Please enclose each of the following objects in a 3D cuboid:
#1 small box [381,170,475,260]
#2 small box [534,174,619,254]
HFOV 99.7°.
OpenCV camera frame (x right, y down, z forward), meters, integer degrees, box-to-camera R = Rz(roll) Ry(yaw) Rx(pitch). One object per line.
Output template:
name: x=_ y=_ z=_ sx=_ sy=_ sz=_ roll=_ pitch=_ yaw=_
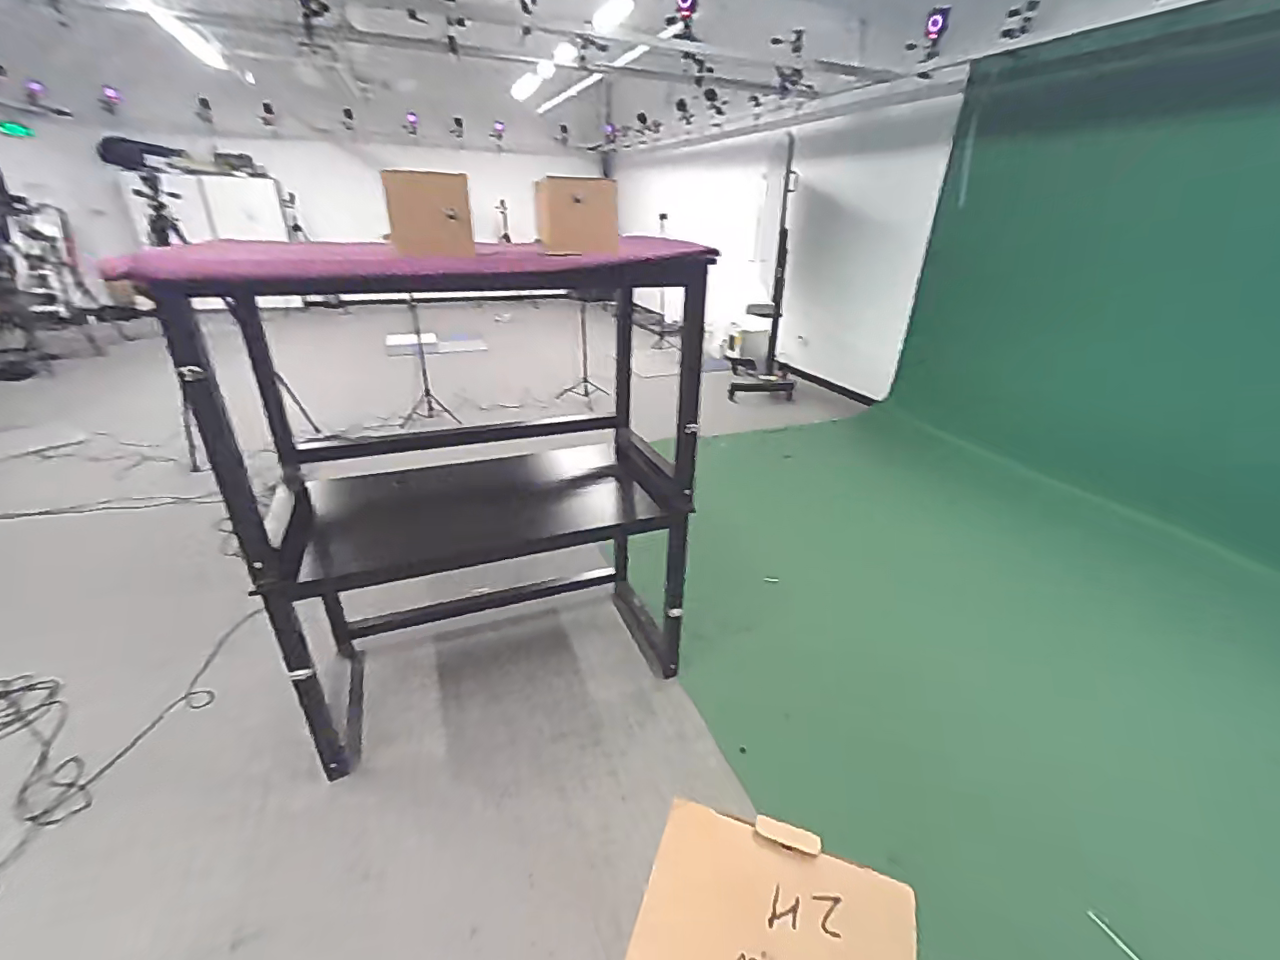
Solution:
small box: x=-0.472 y=-0.595 z=1.214 sx=0.179 sy=0.176 sz=0.168 roll=-11 pitch=29 yaw=-21
small box: x=-0.158 y=-0.659 z=1.353 sx=0.179 sy=0.176 sz=0.168 roll=-9 pitch=26 yaw=-19
